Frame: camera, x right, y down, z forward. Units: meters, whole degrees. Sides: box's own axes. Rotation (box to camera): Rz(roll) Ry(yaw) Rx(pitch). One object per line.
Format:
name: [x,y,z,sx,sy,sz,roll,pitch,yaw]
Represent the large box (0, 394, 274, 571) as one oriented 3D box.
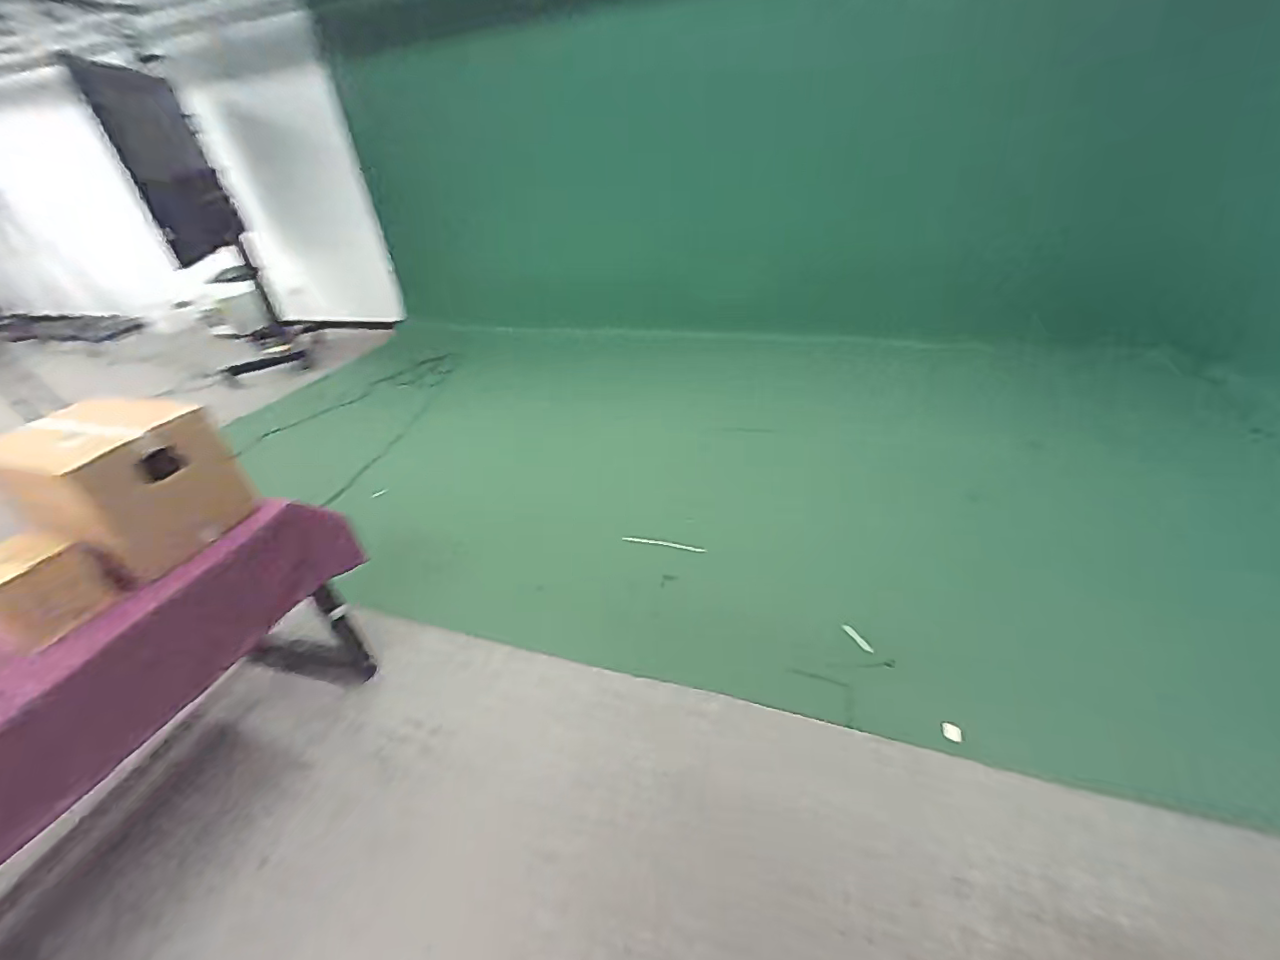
large box: [-1.266,-0.006,1.382,0.408,0.320,0.320,8,37,18]
